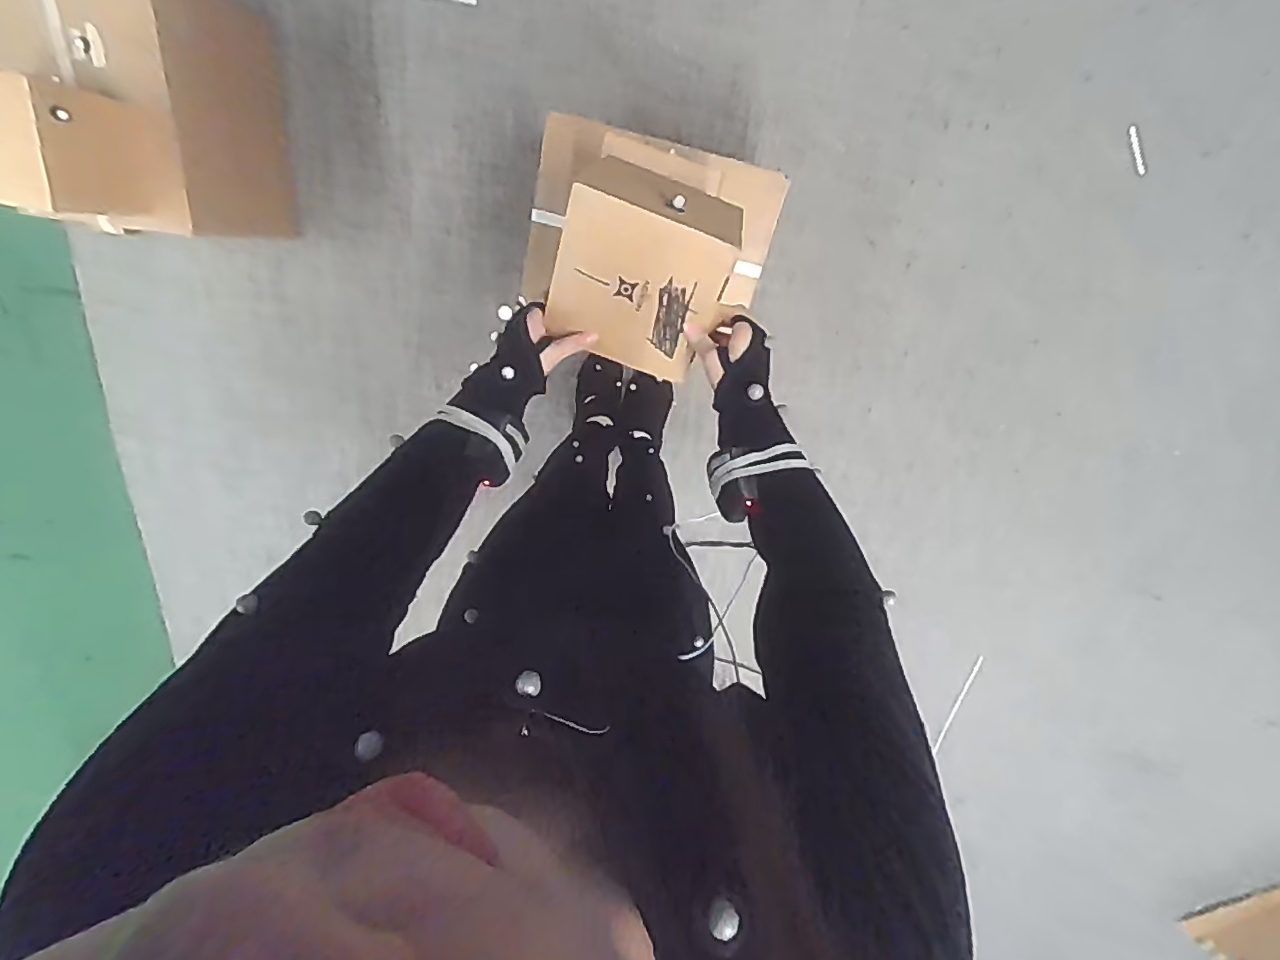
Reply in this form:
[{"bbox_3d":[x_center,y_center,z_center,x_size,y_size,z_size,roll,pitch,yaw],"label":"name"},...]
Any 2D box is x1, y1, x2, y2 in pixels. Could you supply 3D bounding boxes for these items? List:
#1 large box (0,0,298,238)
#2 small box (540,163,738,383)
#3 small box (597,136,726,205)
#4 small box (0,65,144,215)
[{"bbox_3d":[-0.905,-0.693,1.015,0.320,0.320,0.408,8,112,-1],"label":"large box"},{"bbox_3d":[0.005,-0.248,0.637,0.179,0.176,0.168,21,129,-5],"label":"small box"},{"bbox_3d":[0.015,-0.398,0.839,0.179,0.176,0.168,17,110,-5],"label":"small box"},{"bbox_3d":[-0.913,-0.516,0.824,0.168,0.176,0.179,11,112,-3],"label":"small box"}]
